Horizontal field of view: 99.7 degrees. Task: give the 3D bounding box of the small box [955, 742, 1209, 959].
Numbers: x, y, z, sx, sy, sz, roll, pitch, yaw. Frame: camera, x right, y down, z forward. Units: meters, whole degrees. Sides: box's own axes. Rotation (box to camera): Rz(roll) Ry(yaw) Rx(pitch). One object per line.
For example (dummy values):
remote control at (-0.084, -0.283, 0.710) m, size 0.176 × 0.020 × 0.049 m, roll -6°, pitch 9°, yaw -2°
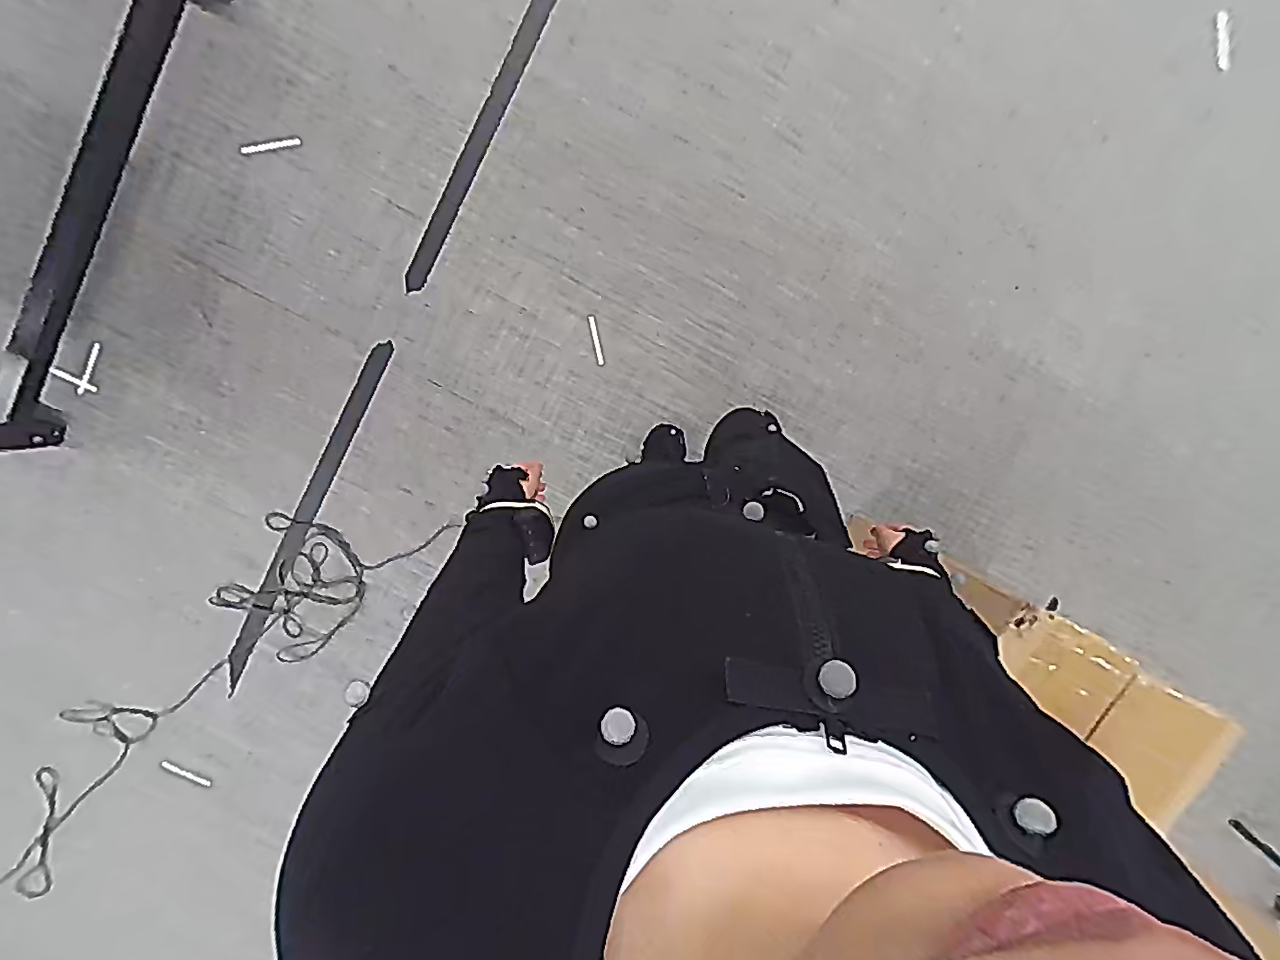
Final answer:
small box at (0.578, 0.502, 0.738) m, size 0.168 × 0.176 × 0.179 m, roll 29°, pitch 98°, yaw -4°
